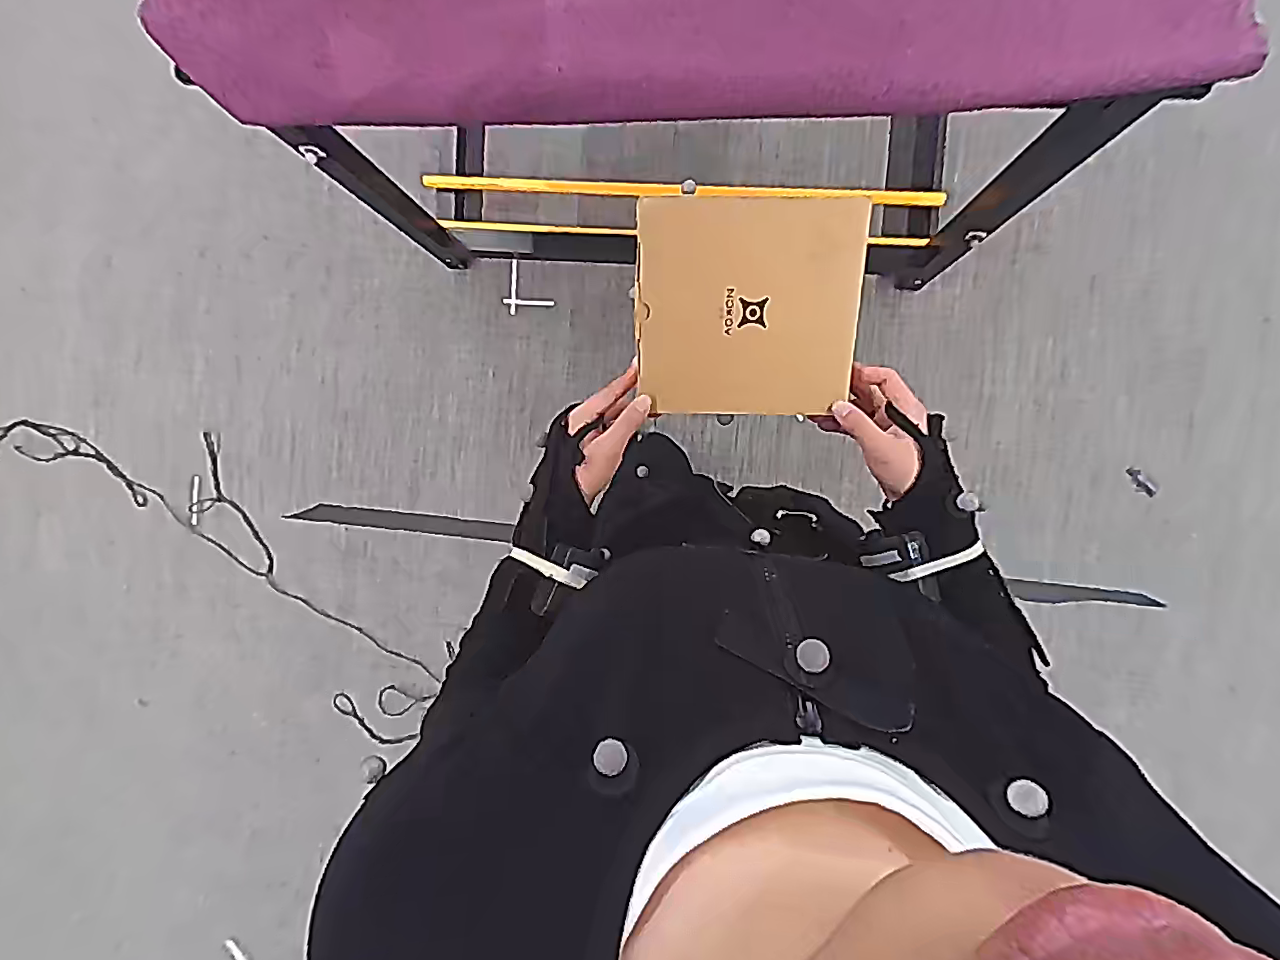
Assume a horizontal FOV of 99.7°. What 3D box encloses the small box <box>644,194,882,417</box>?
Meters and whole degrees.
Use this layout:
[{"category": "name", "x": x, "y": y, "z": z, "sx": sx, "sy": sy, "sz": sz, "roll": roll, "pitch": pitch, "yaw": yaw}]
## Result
[{"category": "small box", "x": 0.094, "y": -0.158, "z": 0.502, "sx": 0.179, "sy": 0.176, "sz": 0.168, "roll": 2, "pitch": 107, "yaw": 2}]
